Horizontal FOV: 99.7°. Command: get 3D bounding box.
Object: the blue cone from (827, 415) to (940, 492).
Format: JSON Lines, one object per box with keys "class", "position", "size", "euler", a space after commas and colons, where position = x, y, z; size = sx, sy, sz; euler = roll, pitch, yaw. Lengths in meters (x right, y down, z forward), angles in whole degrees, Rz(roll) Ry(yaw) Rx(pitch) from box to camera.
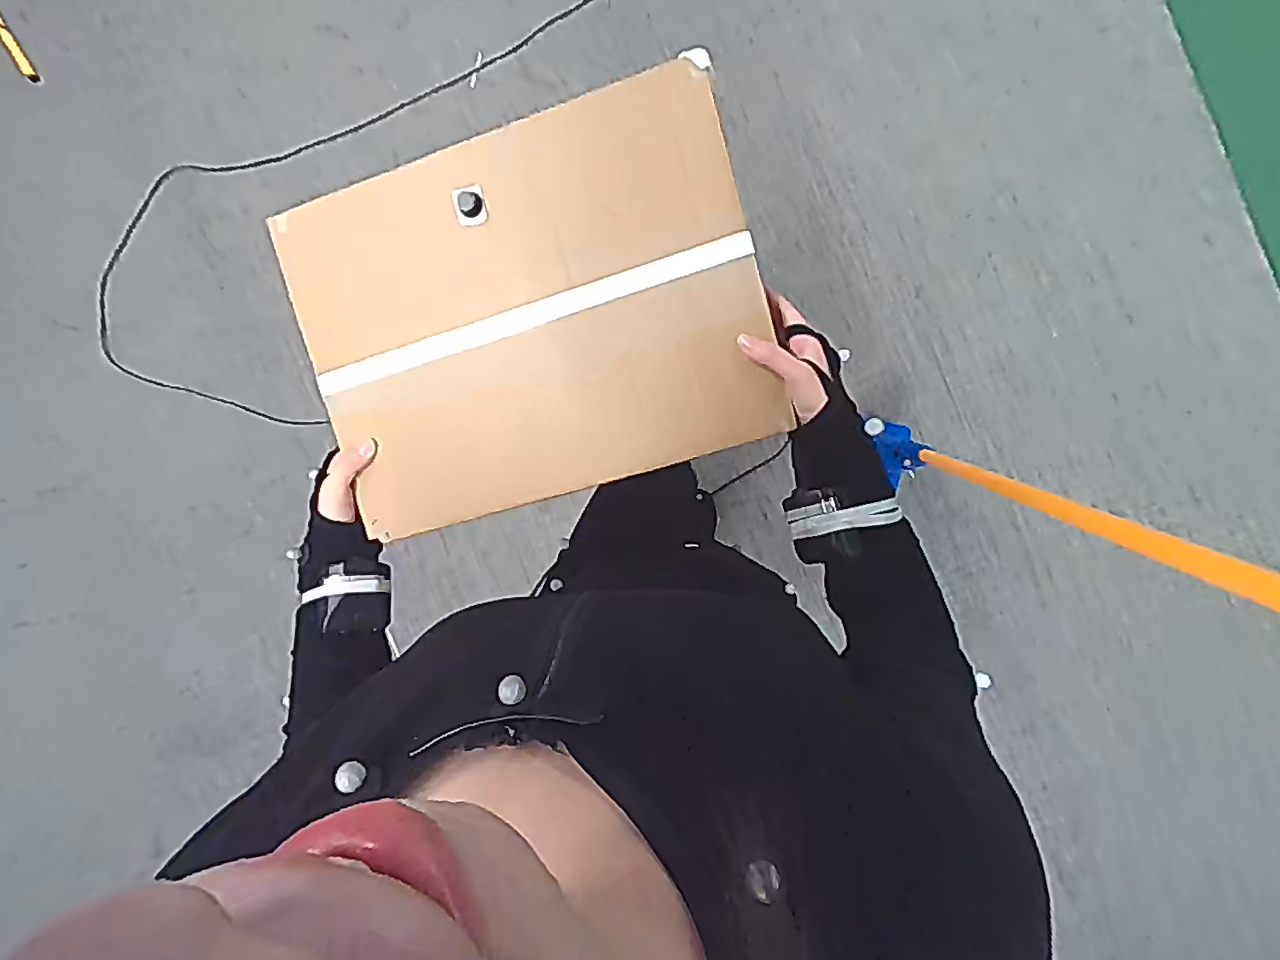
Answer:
{"class": "blue cone", "position": [0.590, -0.062, 1.259], "size": [0.193, 0.380, 0.192], "euler": [11, 94, 3]}
